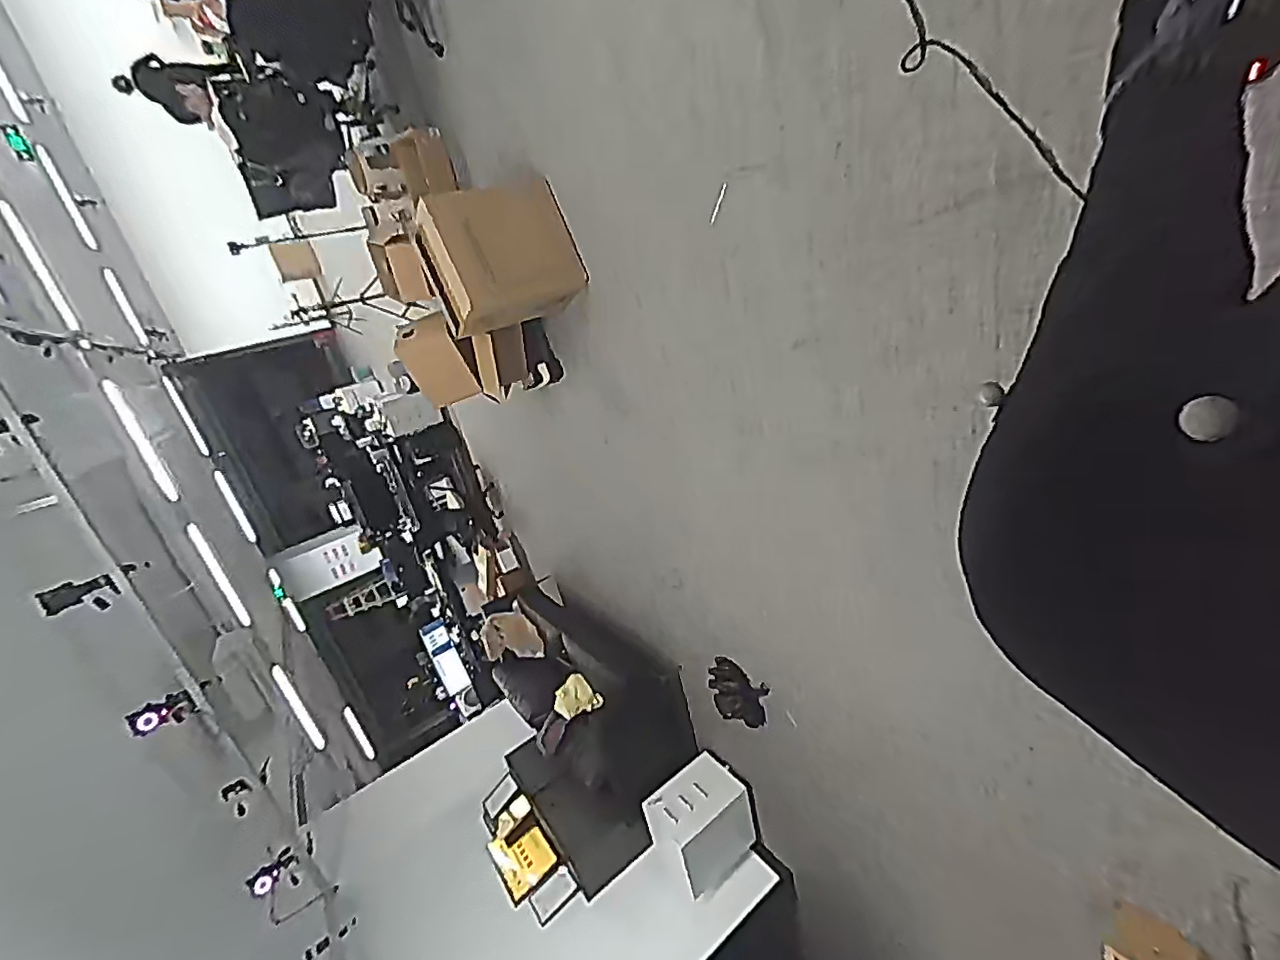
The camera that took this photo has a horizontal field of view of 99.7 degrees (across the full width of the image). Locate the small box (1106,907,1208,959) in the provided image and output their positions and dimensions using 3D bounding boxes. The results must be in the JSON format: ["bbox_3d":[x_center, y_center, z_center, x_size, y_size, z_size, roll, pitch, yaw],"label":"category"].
[{"bbox_3d":[1.481,1.387,1.555,0.179,0.176,0.168,15,125,53],"label":"small box"}]
